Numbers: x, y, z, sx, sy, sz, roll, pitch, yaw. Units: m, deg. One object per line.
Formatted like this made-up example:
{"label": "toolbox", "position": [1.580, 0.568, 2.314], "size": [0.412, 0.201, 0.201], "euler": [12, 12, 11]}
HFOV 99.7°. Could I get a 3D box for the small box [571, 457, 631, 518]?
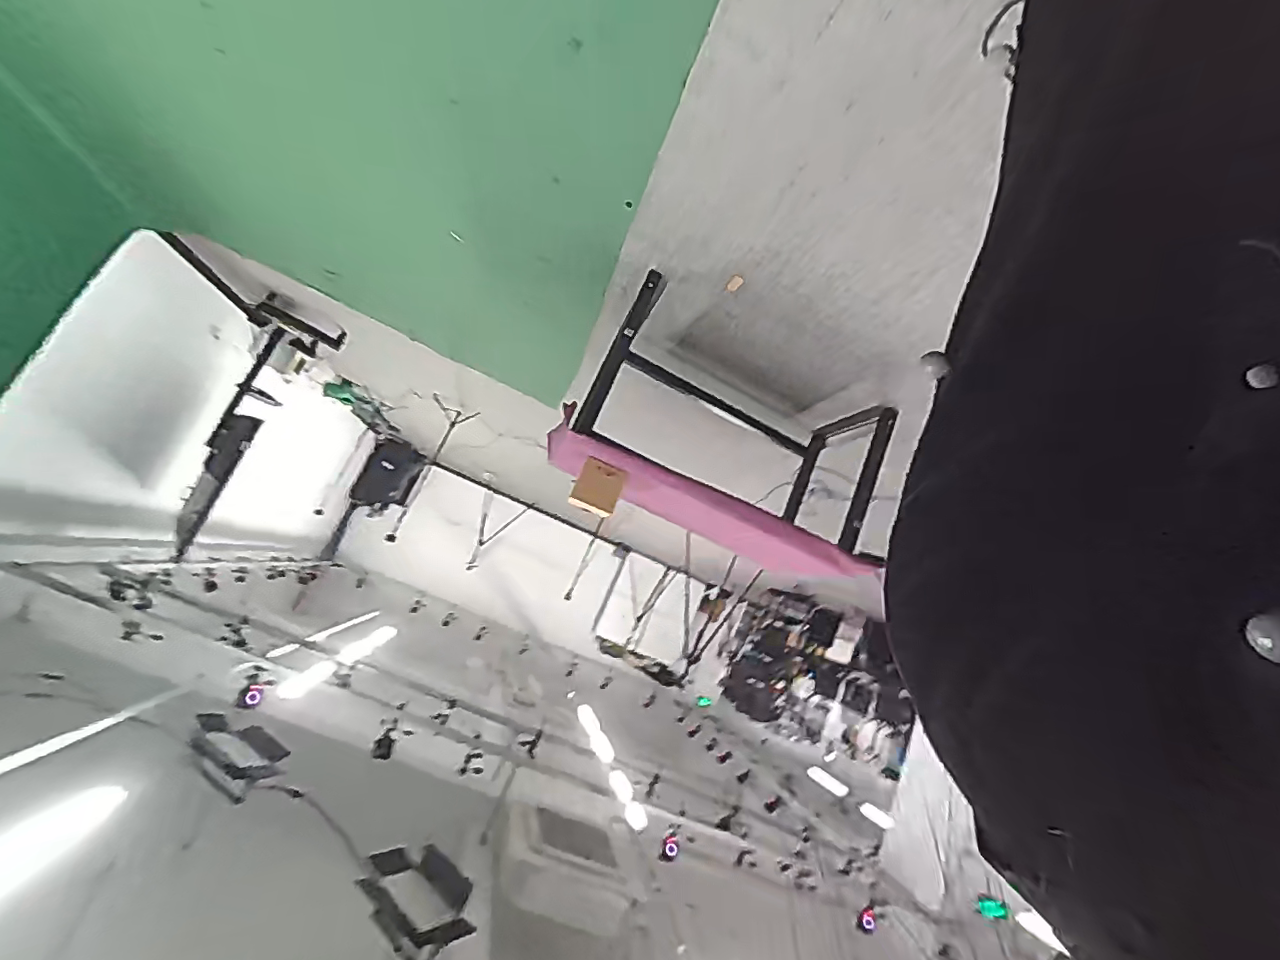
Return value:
{"label": "small box", "position": [-0.147, 0.031, 2.023], "size": [0.168, 0.176, 0.179], "euler": [24, 168, -8]}
